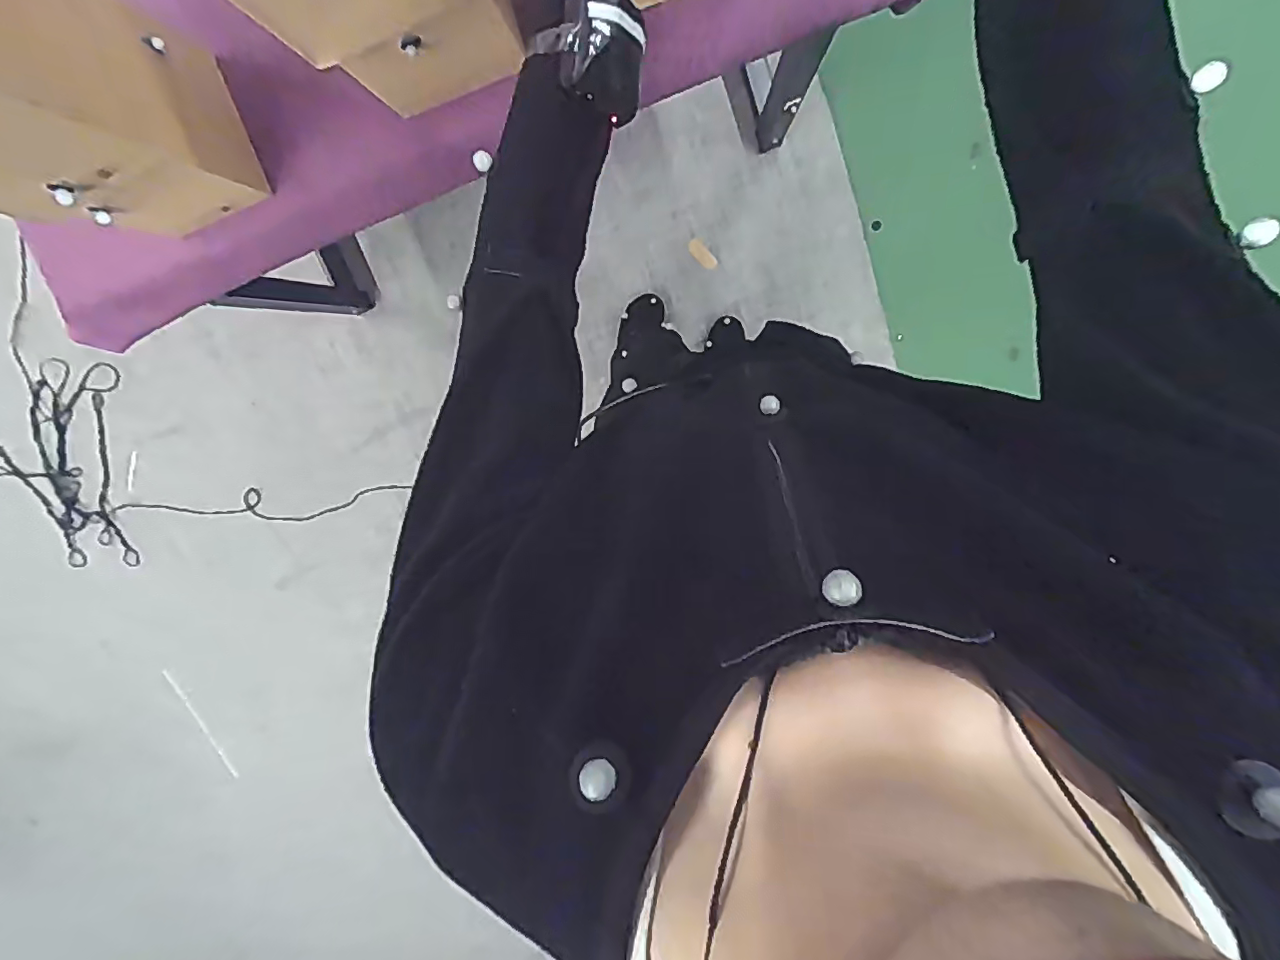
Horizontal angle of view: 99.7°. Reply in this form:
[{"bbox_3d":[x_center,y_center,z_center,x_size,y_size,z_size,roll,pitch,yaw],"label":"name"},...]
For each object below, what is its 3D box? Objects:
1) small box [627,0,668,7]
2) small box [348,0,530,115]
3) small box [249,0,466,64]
[{"bbox_3d":[0.034,-0.619,0.533,0.168,0.176,0.179,-12,103,8],"label":"small box"},{"bbox_3d":[-0.241,-0.532,0.576,0.179,0.176,0.168,-16,102,7],"label":"small box"},{"bbox_3d":[-0.258,-0.478,0.422,0.179,0.176,0.168,-17,102,9],"label":"small box"}]
